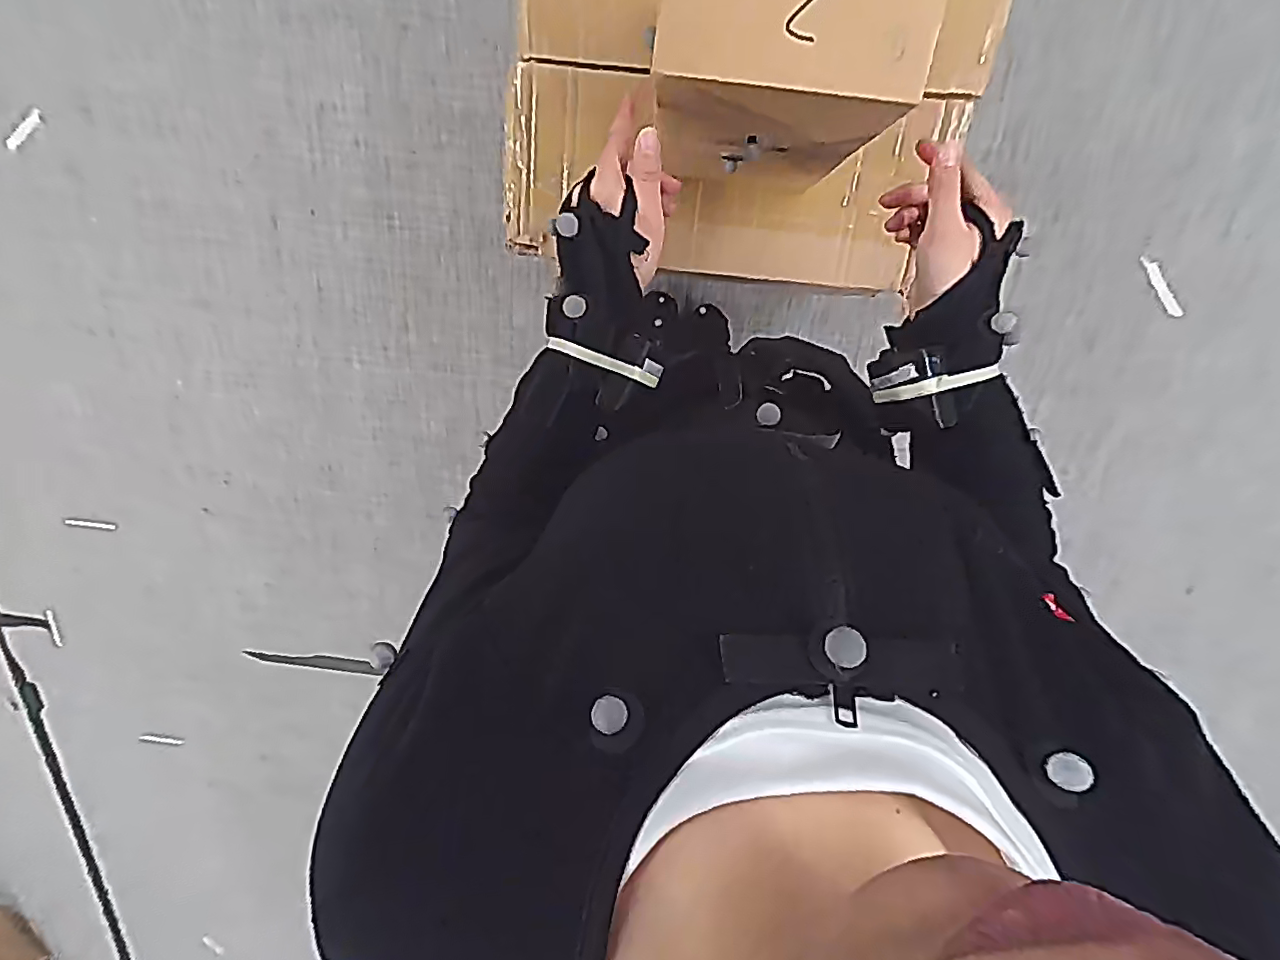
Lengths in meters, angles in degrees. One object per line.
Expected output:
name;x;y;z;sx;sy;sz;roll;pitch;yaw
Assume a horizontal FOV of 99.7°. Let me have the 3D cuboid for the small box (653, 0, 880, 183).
small box;0.112;-0.403;0.526;0.179;0.176;0.168;8;110;1
